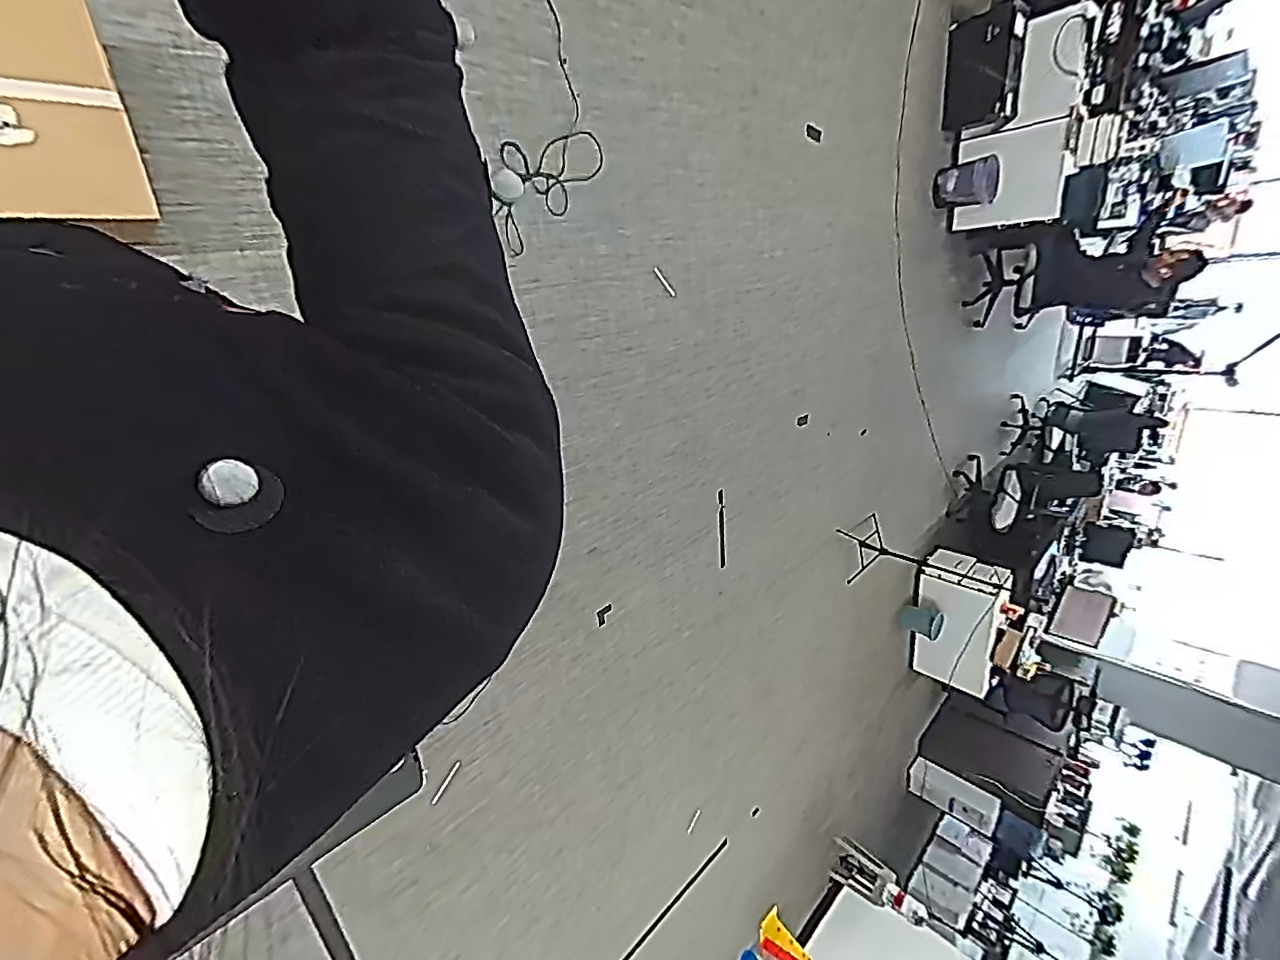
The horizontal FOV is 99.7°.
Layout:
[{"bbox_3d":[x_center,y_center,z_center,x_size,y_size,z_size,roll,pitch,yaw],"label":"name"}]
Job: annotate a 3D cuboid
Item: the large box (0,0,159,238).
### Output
[{"bbox_3d":[-1.003,-0.526,0.766,0.408,0.320,0.320,-22,117,-39],"label":"large box"}]
